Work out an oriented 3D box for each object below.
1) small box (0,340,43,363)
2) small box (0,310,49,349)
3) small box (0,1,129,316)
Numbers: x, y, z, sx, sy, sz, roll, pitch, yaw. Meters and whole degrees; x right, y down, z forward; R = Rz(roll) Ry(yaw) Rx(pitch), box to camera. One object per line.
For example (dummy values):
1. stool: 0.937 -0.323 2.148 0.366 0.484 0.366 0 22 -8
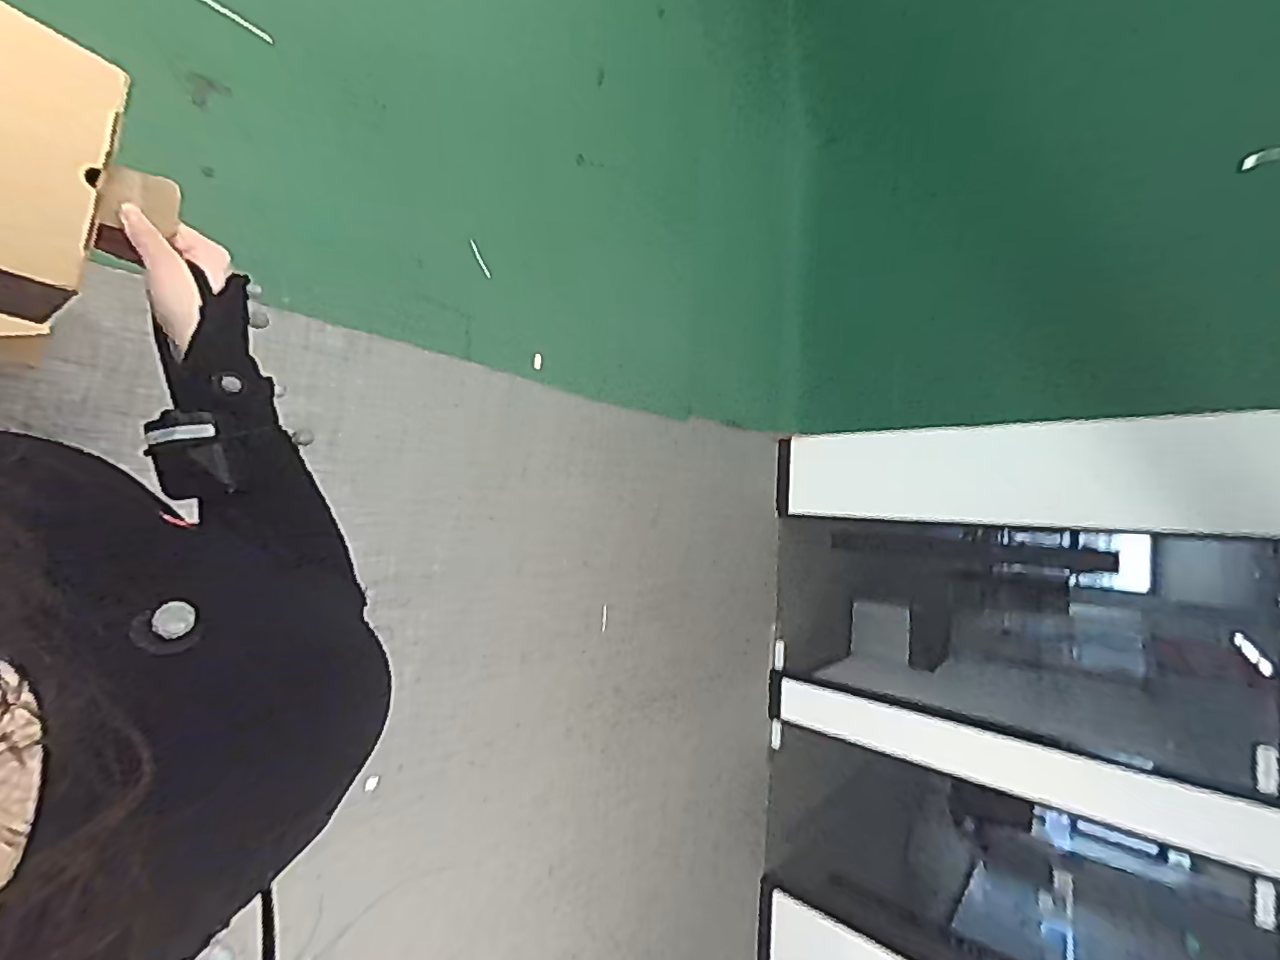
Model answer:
1. small box: -1.139 -0.295 0.910 0.179 0.176 0.168 -3 94 -49
2. small box: -1.023 -0.282 0.796 0.179 0.176 0.168 -22 109 -47
3. small box: -0.480 -0.218 0.346 0.179 0.176 0.168 14 81 -54
